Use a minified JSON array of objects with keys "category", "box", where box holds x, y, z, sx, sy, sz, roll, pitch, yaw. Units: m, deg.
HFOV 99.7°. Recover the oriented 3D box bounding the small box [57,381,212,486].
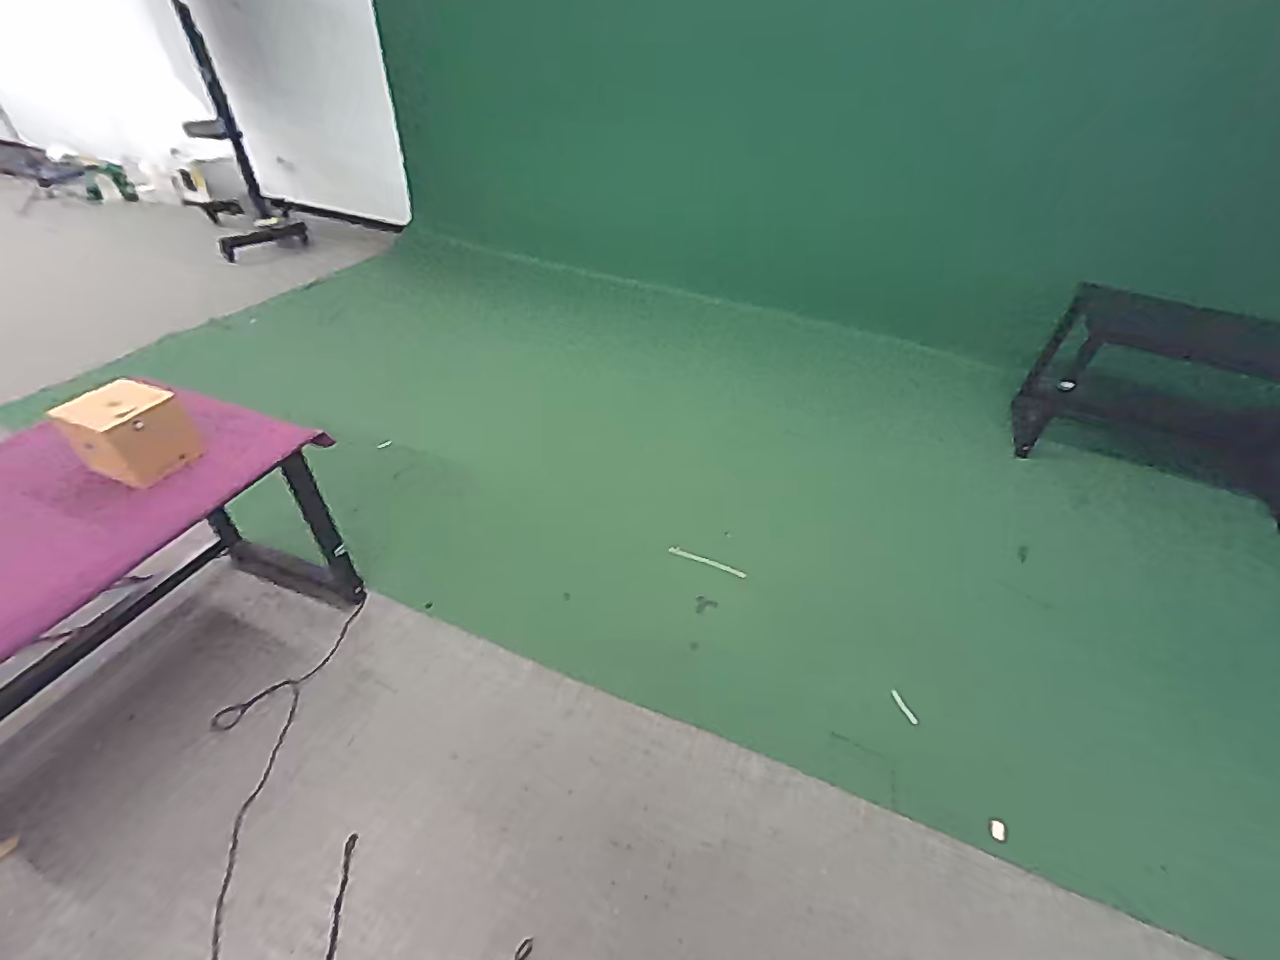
[{"category":"small box","box":[-1.185,-0.108,1.281,0.179,0.176,0.168,15,44,14]}]
